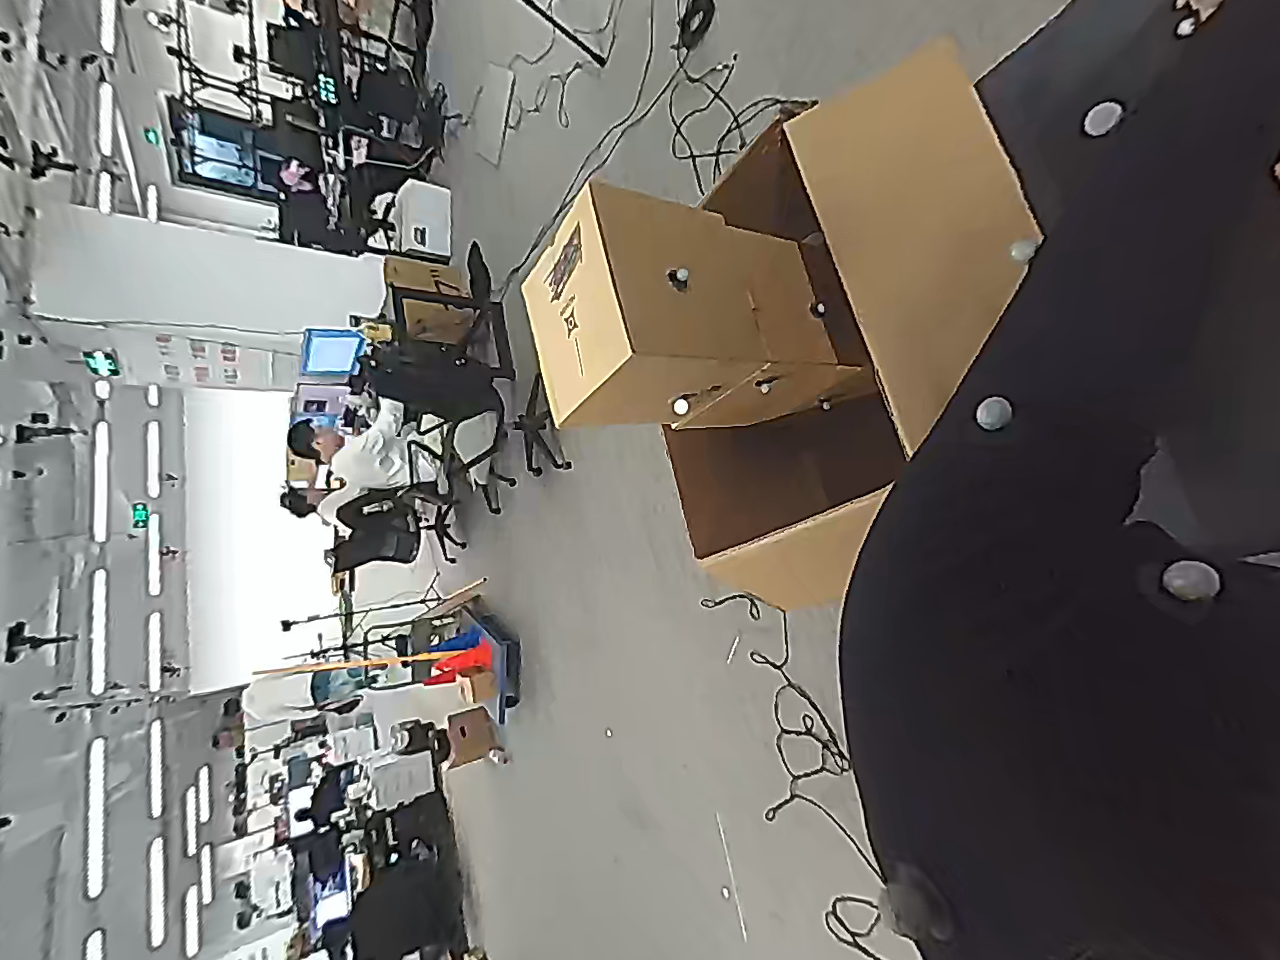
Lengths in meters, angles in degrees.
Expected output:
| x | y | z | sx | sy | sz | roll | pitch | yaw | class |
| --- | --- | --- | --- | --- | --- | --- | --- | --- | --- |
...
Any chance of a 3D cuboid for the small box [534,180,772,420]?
| x | y | z | sx | sy | sz | roll | pitch | yaw | class |
| --- | --- | --- | --- | --- | --- | --- | --- | --- | --- |
| 0.010 | -0.174 | 0.579 | 0.168 | 0.176 | 0.179 | -29 | 72 | 53 | small box |
